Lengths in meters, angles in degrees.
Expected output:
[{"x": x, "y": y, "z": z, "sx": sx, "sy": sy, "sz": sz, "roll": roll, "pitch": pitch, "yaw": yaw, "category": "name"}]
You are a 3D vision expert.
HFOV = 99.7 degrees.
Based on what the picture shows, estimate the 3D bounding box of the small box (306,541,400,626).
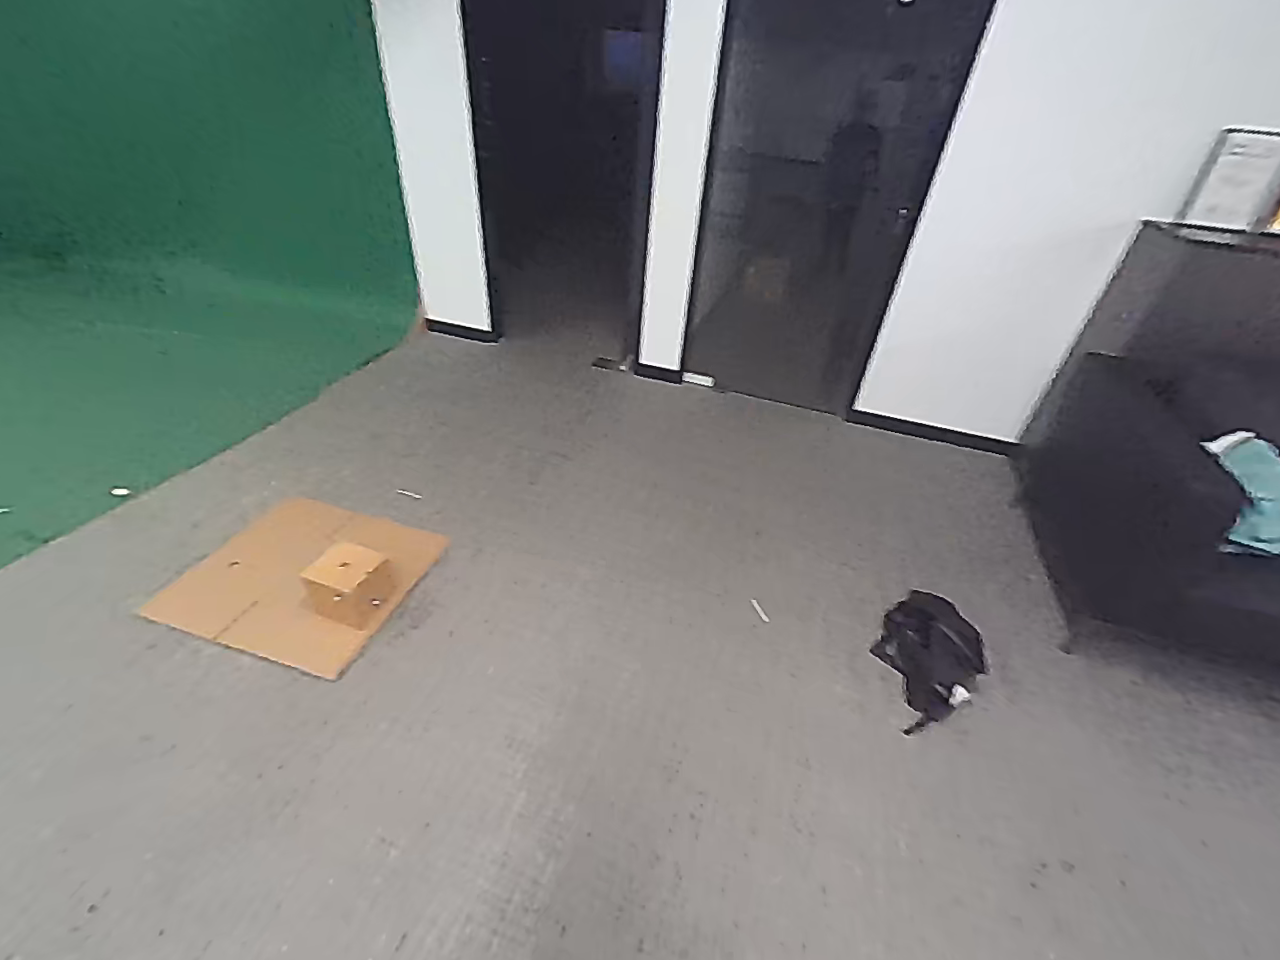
[{"x": -0.866, "y": 0.318, "z": 1.649, "sx": 0.179, "sy": 0.176, "sz": 0.168, "roll": 15, "pitch": 37, "yaw": 12, "category": "small box"}]
